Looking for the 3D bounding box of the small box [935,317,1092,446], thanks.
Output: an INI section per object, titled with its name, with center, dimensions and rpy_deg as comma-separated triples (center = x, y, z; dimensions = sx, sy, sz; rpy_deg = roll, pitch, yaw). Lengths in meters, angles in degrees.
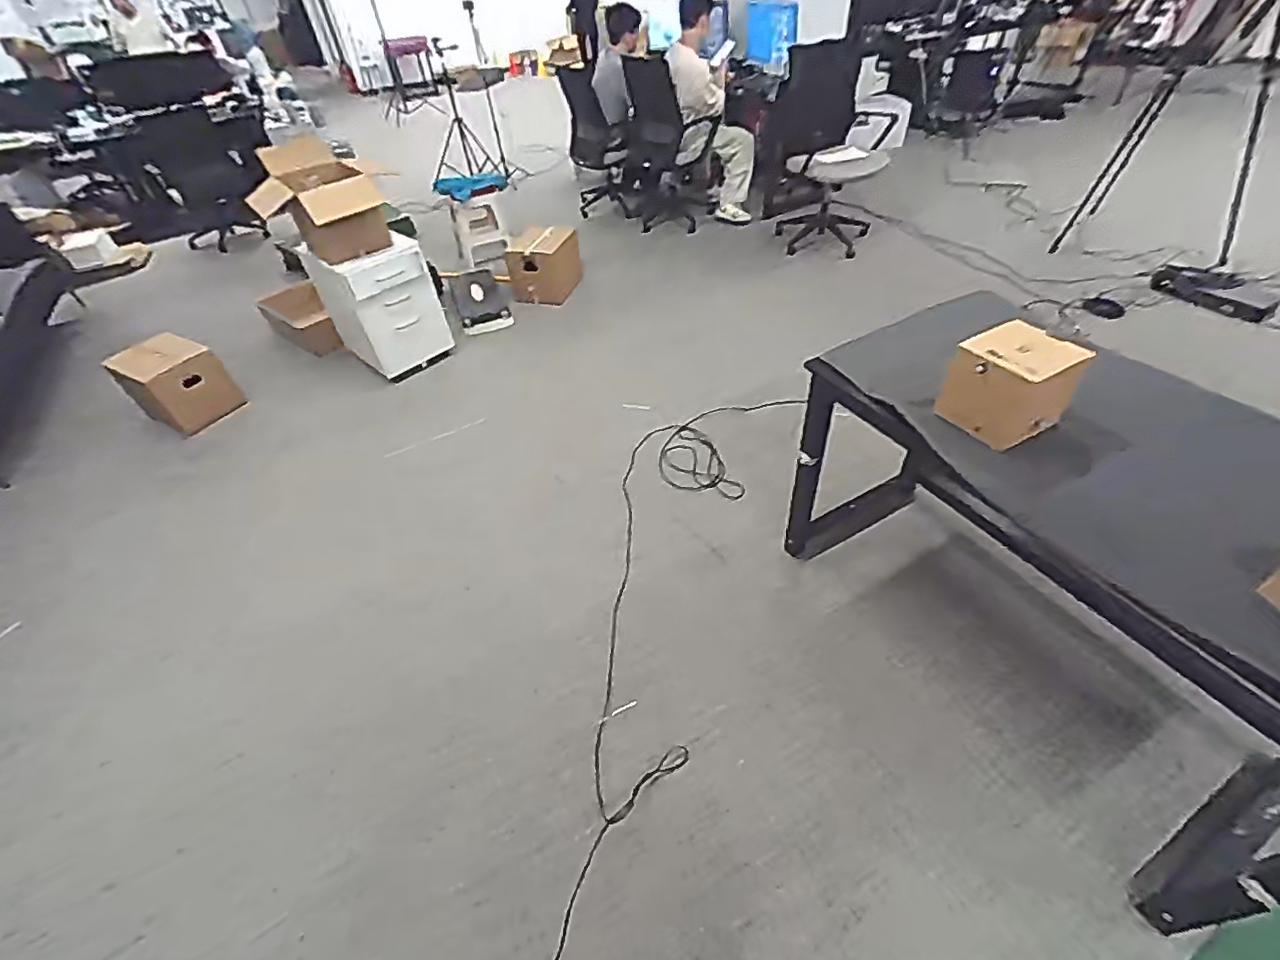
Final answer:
[small box]
center = 0.736, -0.198, 1.088
dimensions = 0.179, 0.176, 0.168
rpy_deg = -23, 46, -18
